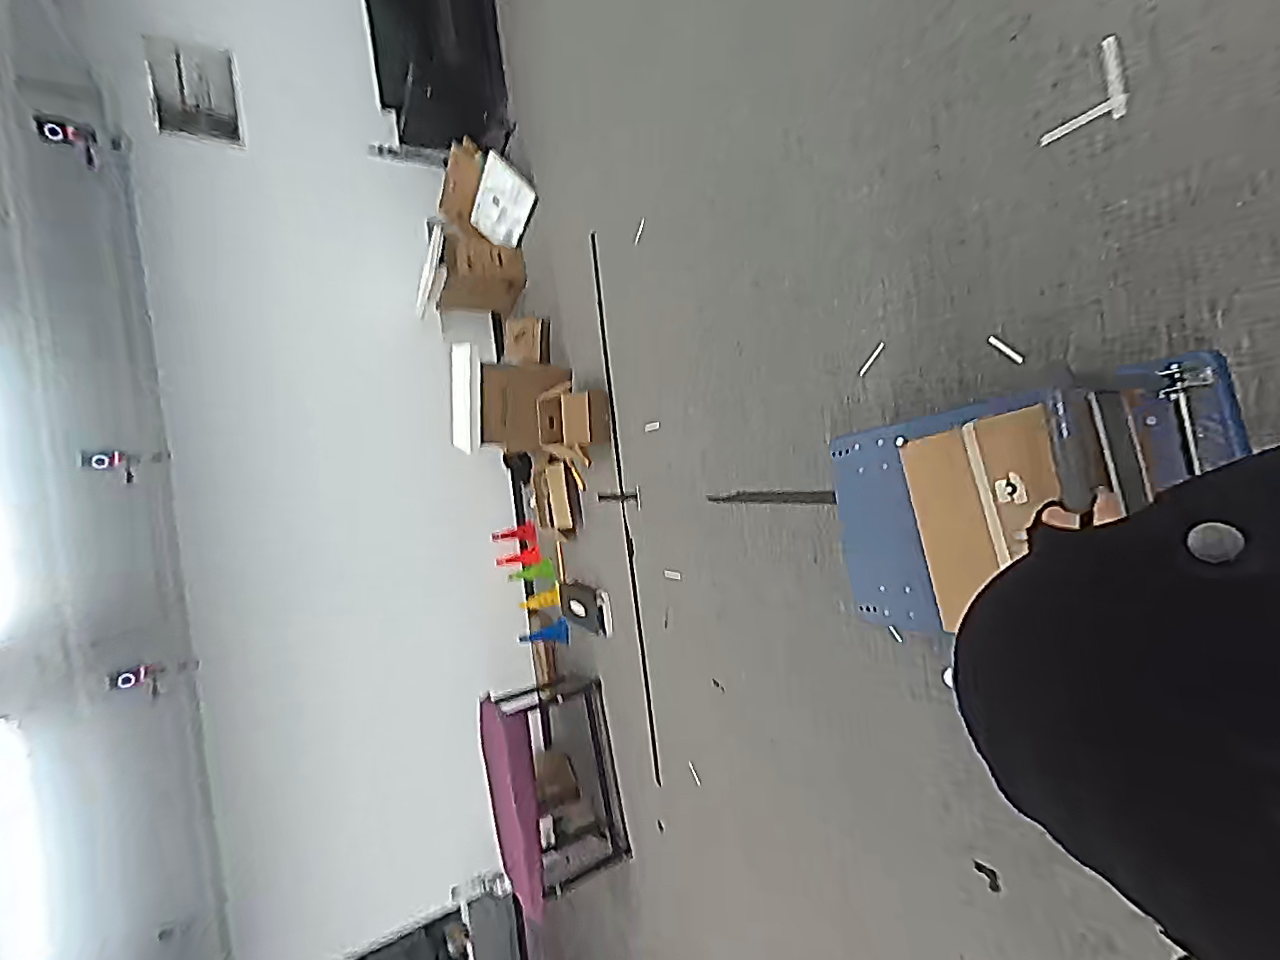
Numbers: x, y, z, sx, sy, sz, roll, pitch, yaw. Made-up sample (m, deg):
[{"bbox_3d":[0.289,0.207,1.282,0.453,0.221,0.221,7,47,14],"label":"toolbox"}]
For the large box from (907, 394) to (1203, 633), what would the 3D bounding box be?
[{"bbox_3d":[0.808,0.069,1.078,0.320,0.320,0.408,-22,76,58],"label":"large box"}]
